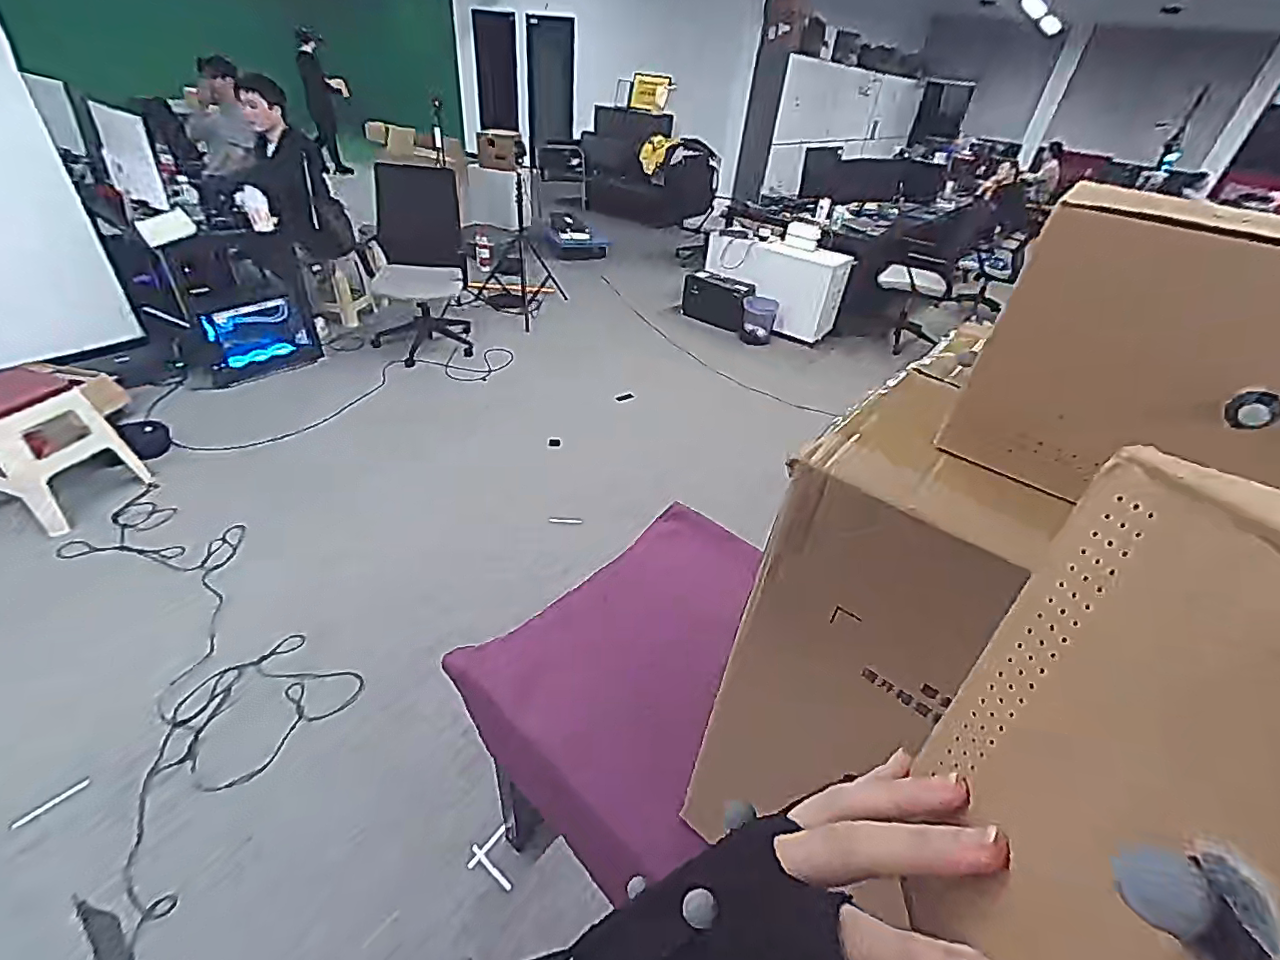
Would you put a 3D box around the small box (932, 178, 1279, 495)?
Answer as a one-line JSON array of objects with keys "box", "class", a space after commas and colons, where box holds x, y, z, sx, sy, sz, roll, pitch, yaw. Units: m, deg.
[{"box": [0.336, -0.090, 0.365, 0.179, 0.176, 0.168, 28, 41, 26], "class": "small box"}]
